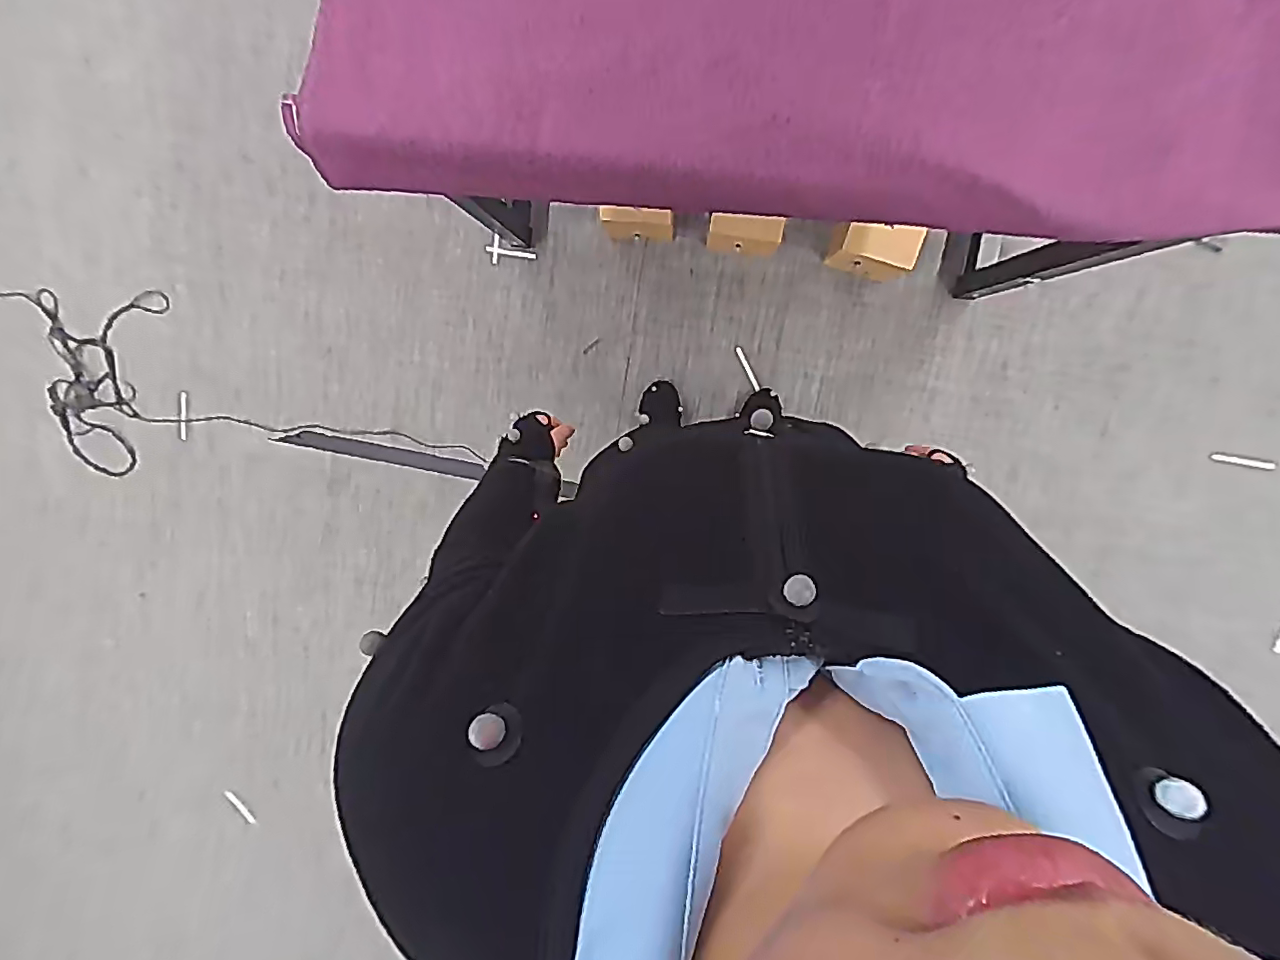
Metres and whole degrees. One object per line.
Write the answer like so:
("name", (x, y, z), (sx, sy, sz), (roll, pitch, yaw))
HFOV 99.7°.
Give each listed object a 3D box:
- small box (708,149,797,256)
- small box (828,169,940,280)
("small box", (0.258, -0.648, 1.284), (0.168, 0.176, 0.179), (11, 101, 2))
("small box", (0.560, -0.589, 1.273), (0.168, 0.176, 0.179), (18, 101, 1))
